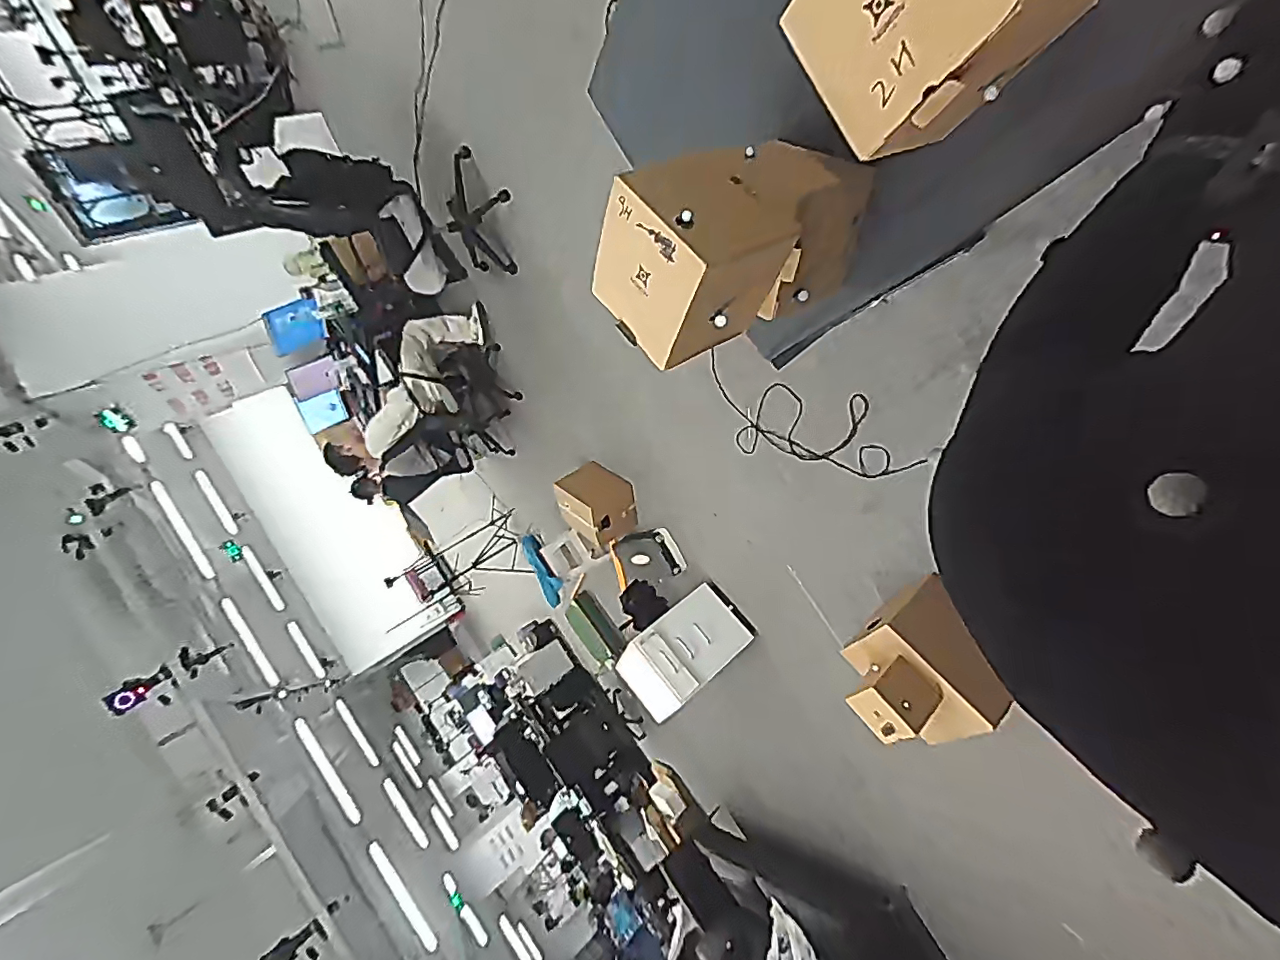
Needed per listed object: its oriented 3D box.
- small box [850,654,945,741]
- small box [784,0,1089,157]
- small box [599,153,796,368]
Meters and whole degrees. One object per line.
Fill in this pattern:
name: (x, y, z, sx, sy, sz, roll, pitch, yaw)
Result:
small box: (0.818, 0.687, 1.713, 0.179, 0.176, 0.168, 48, 148, 19)
small box: (0.286, -0.463, 0.533, 0.179, 0.176, 0.168, 59, 153, 0)
small box: (0.070, -0.285, 0.705, 0.168, 0.176, 0.179, 51, 152, 15)
